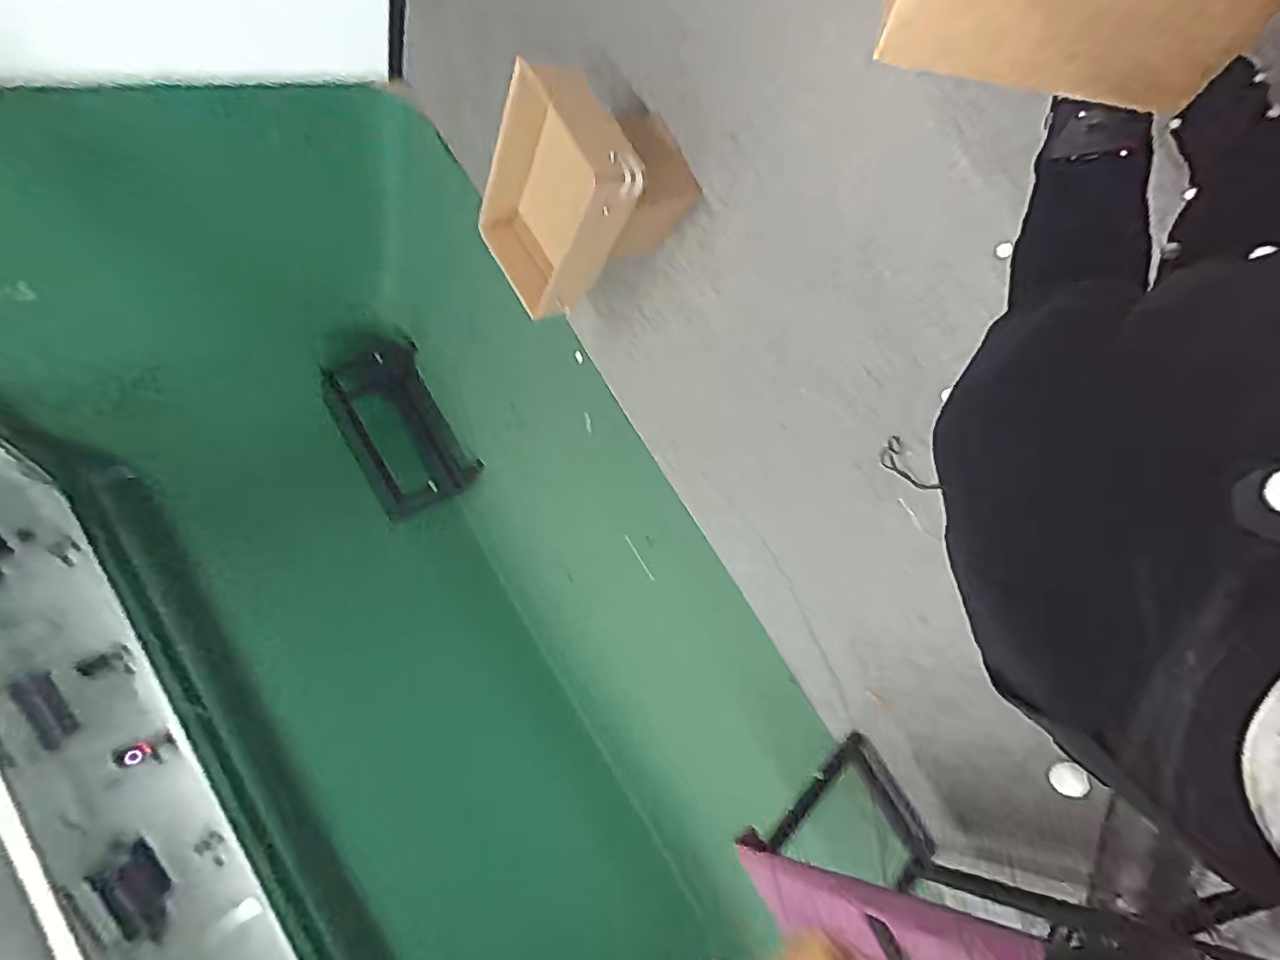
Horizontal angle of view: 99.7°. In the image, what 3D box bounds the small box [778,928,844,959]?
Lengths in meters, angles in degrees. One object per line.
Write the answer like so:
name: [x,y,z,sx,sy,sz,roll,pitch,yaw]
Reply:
small box: [0.544,1.551,1.692,0.168,0.176,0.179,47,144,22]
